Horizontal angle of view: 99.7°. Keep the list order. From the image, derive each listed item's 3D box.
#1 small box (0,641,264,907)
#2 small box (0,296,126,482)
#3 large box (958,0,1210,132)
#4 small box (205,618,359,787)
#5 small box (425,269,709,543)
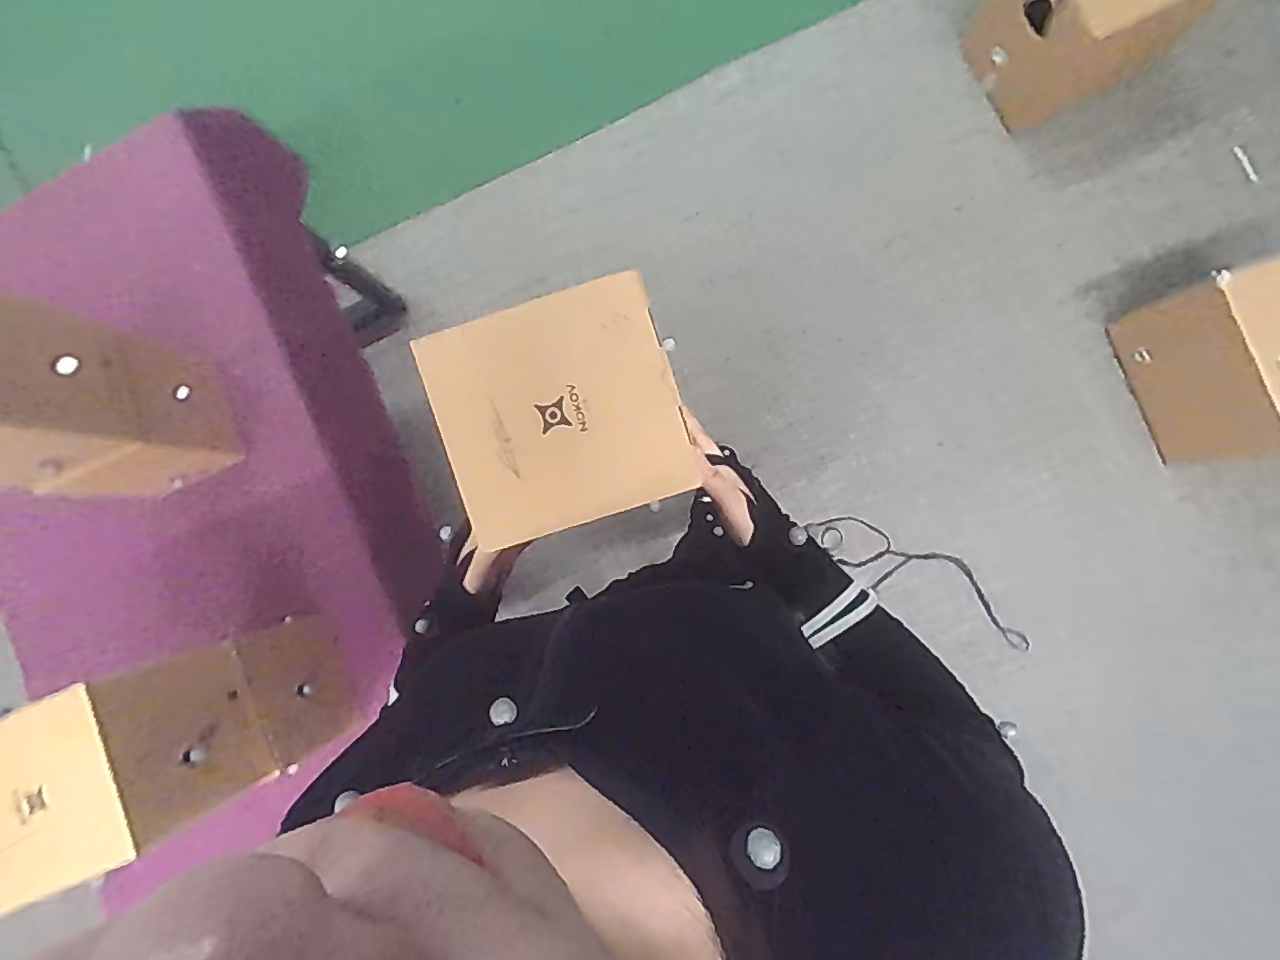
[{"bbox_3d":[-0.547,0.293,0.576,0.179,0.176,0.168,-24,85,5],"label":"small box"},{"bbox_3d":[-0.745,-0.103,0.616,0.179,0.176,0.168,-20,85,3],"label":"small box"},{"bbox_3d":[1.114,-1.180,1.344,0.408,0.320,0.320,-25,84,2],"label":"large box"},{"bbox_3d":[-0.528,0.303,0.738,0.168,0.176,0.179,-25,86,4],"label":"small box"},{"bbox_3d":[-0.052,-0.058,0.473,0.179,0.176,0.168,-16,93,3],"label":"small box"}]
